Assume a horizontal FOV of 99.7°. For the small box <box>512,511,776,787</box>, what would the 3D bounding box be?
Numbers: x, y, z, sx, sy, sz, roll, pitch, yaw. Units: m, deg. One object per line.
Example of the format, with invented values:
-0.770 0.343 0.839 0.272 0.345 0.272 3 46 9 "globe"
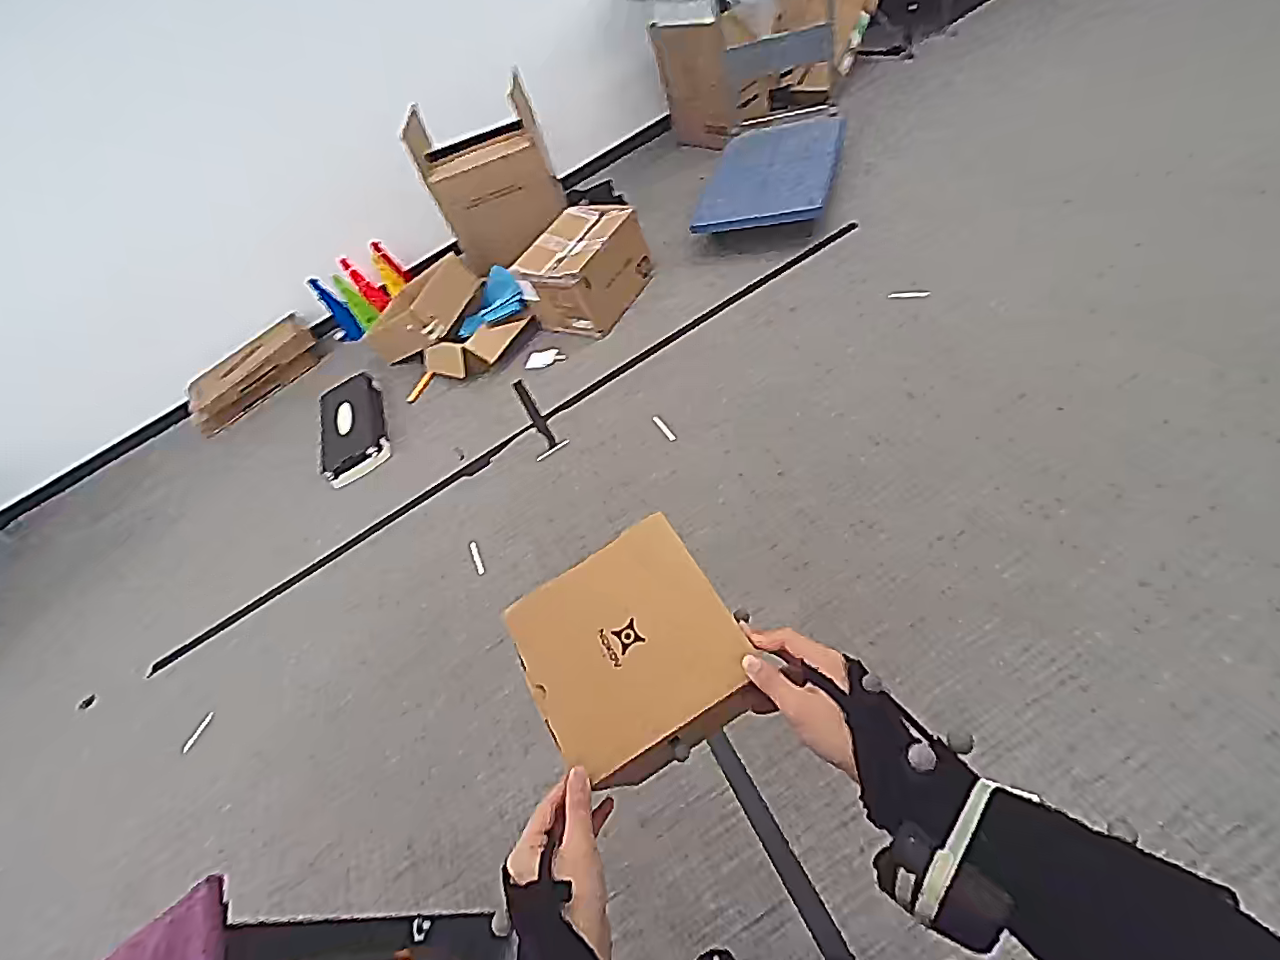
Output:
0.013 0.164 0.520 0.179 0.176 0.168 -33 59 -1 "small box"
